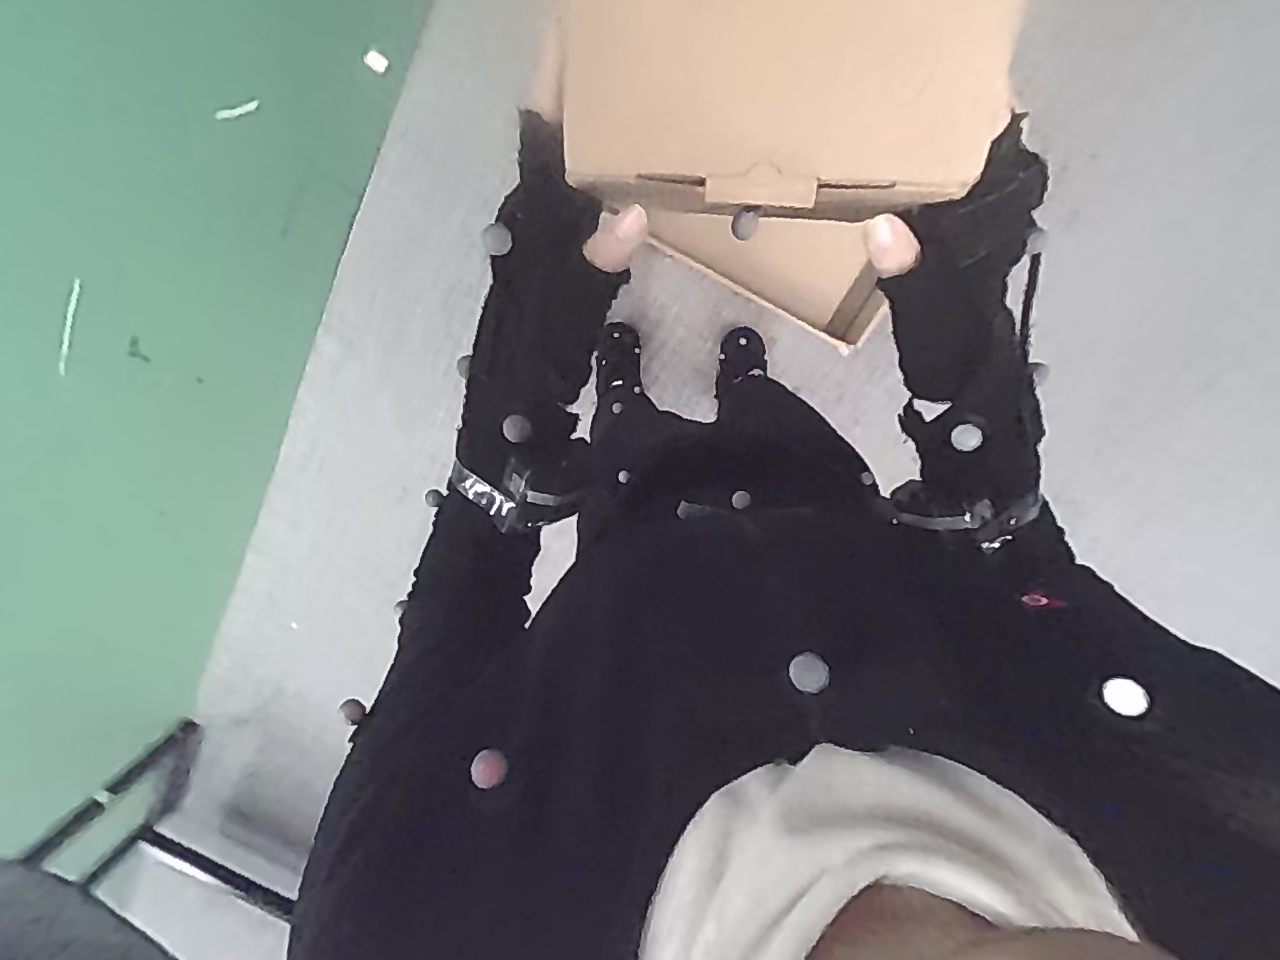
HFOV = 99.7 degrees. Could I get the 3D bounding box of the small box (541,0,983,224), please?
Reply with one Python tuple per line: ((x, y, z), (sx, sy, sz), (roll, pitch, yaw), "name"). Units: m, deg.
((0.054, -0.226, 0.267), (0.168, 0.176, 0.179), (4, 114, 6), "small box")
